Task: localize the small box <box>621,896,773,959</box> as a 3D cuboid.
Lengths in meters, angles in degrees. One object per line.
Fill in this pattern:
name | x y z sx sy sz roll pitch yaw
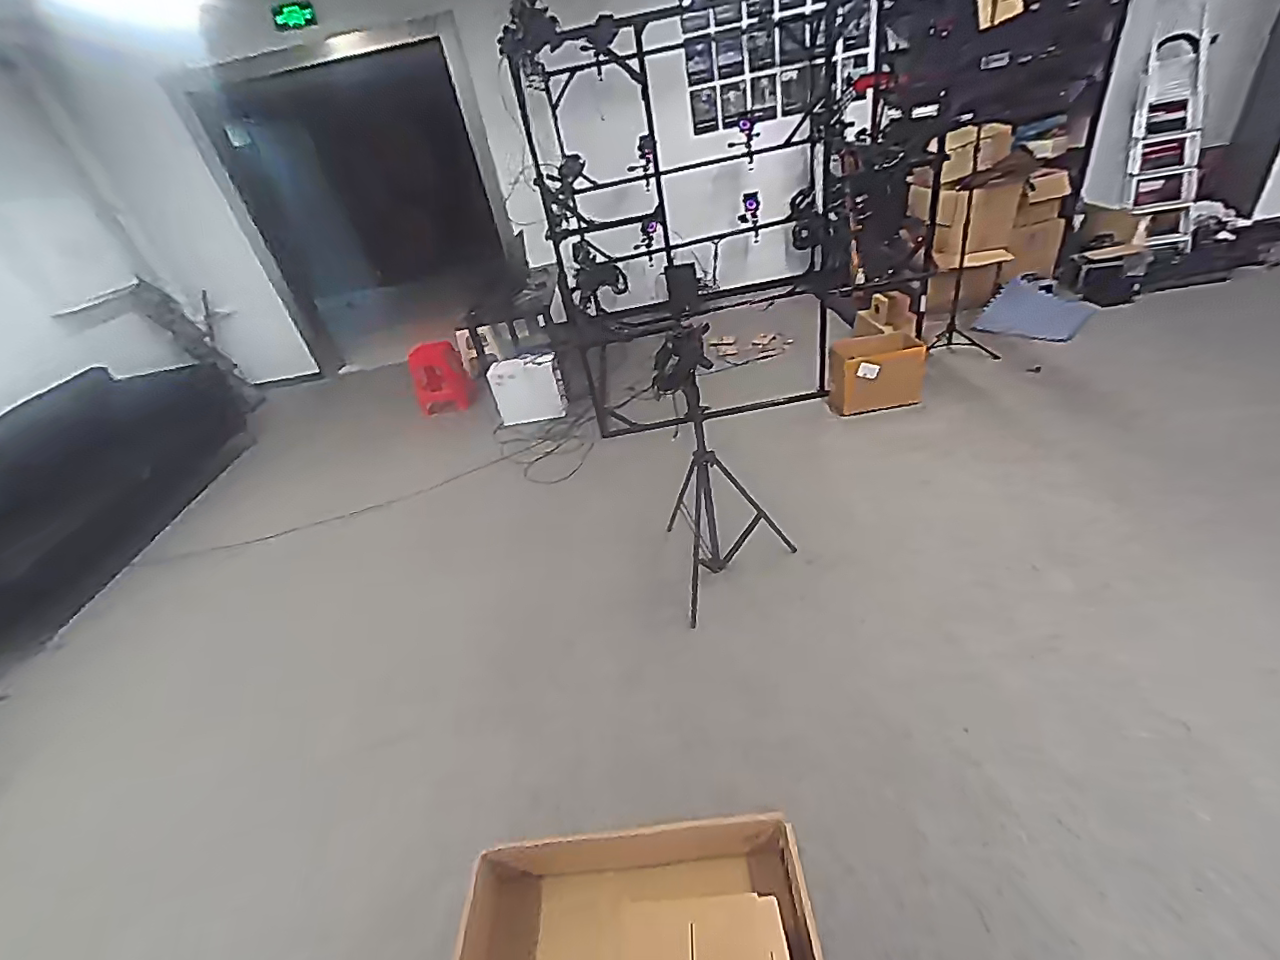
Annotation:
small box | 0.070 0.597 0.608 0.168 0.176 0.179 -5 42 0
